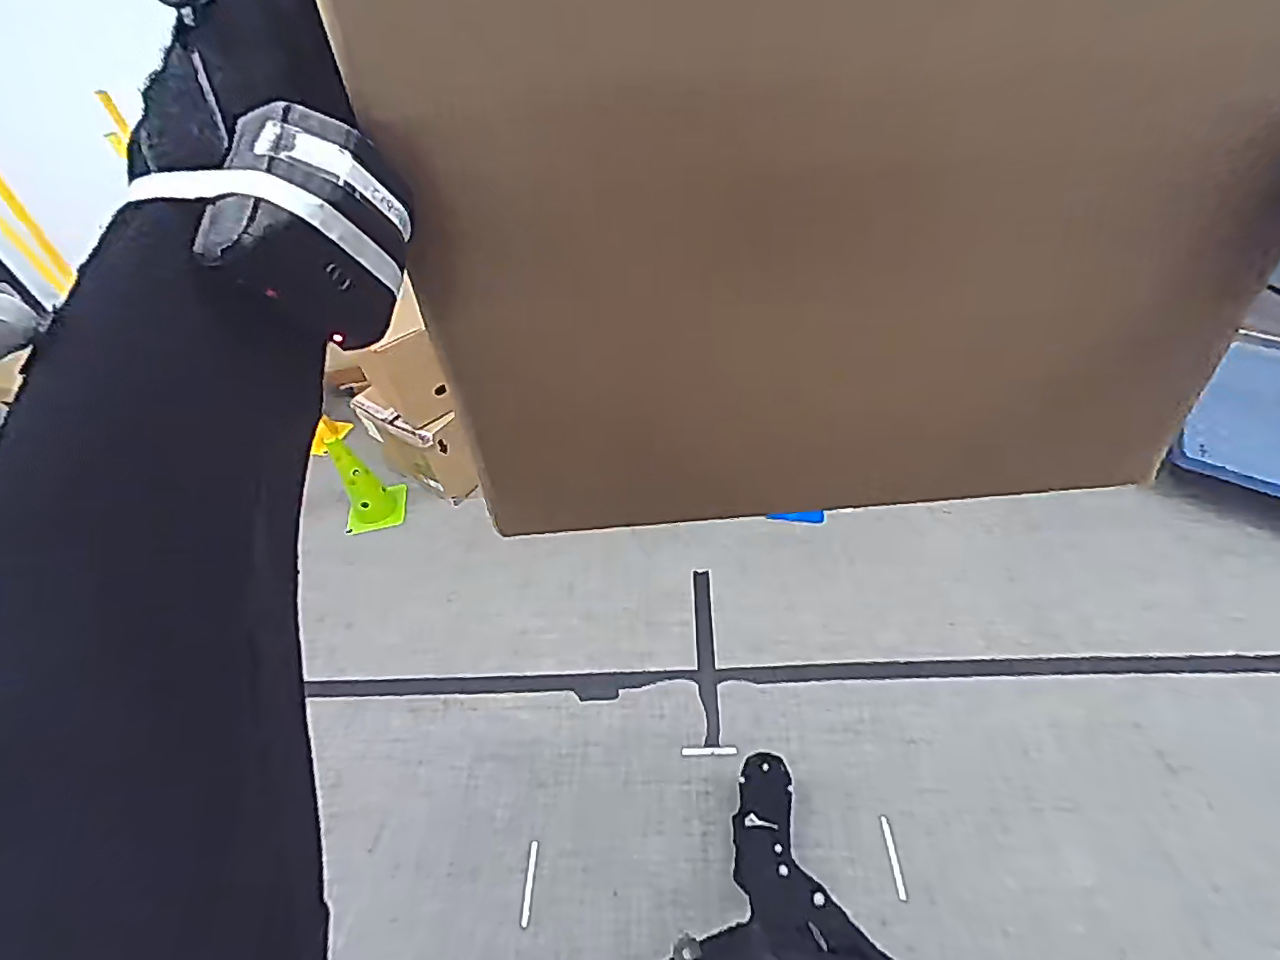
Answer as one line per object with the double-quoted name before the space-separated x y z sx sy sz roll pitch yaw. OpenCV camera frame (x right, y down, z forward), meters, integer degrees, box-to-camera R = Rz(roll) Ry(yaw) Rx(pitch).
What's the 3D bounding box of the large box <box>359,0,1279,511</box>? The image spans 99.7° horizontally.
"large box" 0.090 -0.202 0.374 0.408 0.320 0.320 -4 37 1
